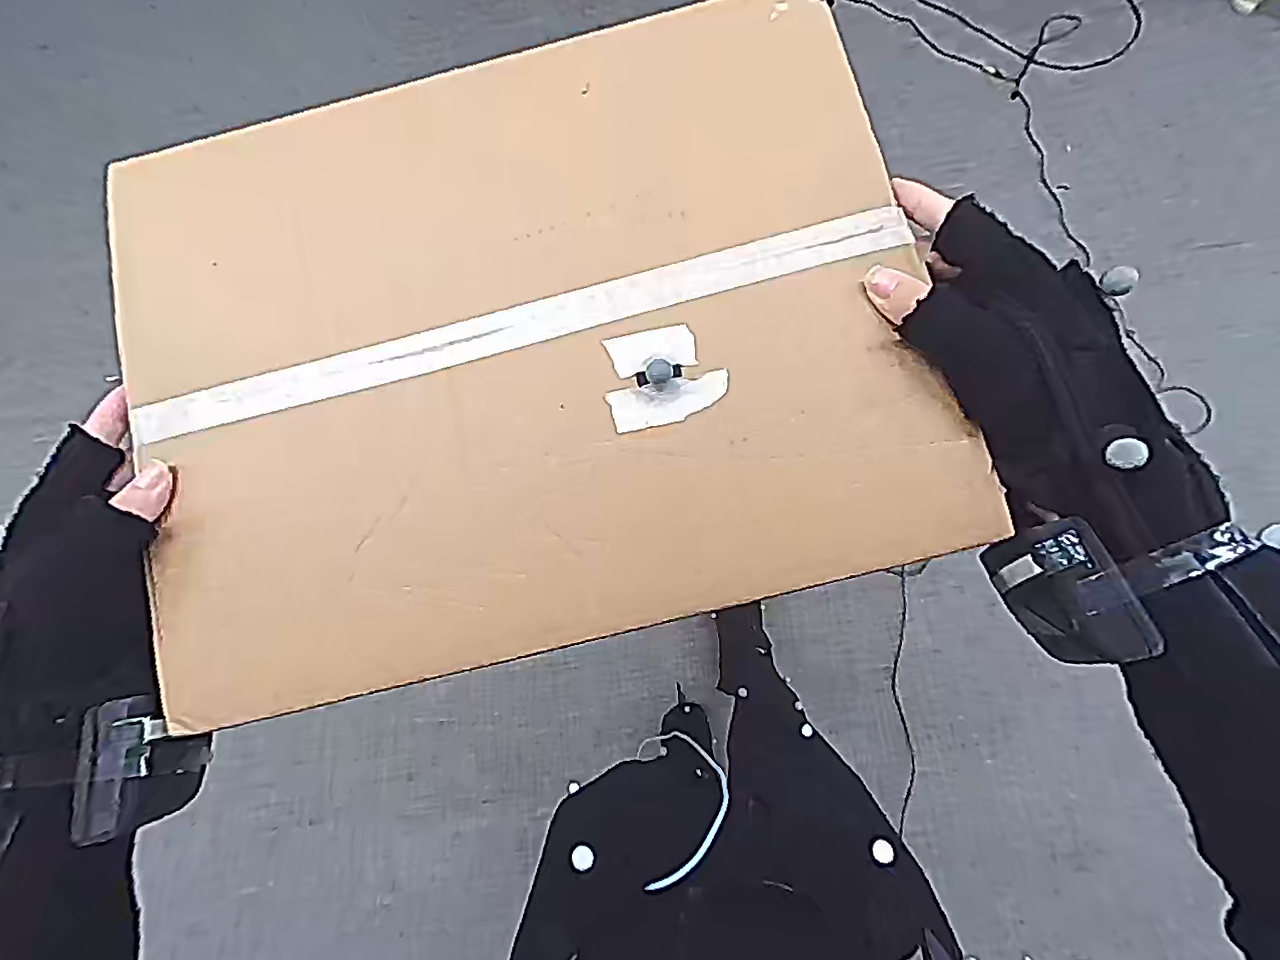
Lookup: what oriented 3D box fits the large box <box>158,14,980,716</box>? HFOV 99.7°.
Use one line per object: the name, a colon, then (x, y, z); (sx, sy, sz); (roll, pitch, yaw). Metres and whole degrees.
large box: (-0.051, -0.053, 0.439); (0.408, 0.320, 0.320); (-14, 82, 1)
